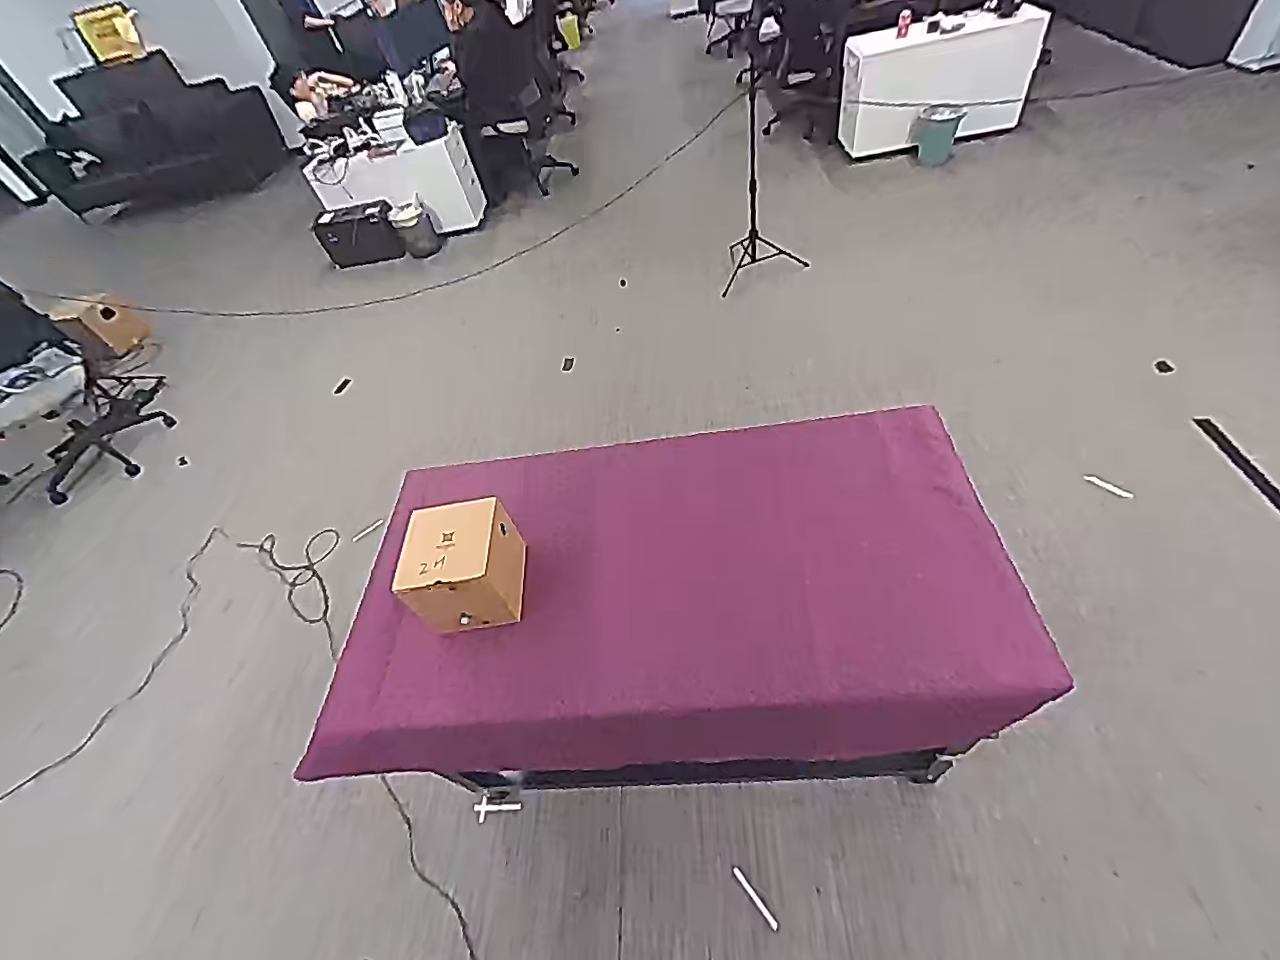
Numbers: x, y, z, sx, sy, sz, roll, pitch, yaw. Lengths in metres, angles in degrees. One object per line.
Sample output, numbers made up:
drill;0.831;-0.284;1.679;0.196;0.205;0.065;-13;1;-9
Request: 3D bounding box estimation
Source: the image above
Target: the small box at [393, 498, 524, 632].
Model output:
small box;-0.325;0.161;1.009;0.168;0.176;0.179;-9;49;5
